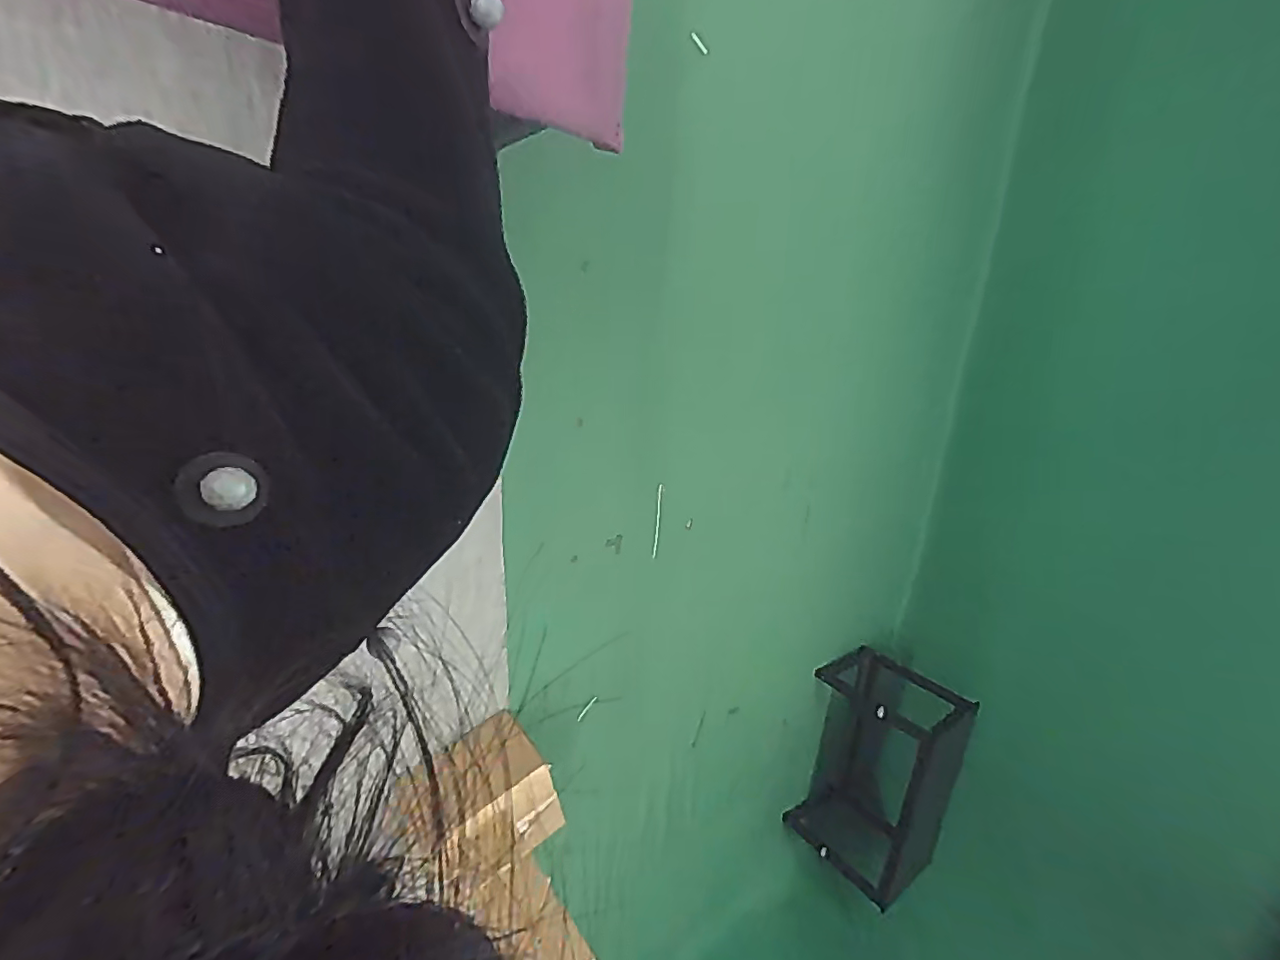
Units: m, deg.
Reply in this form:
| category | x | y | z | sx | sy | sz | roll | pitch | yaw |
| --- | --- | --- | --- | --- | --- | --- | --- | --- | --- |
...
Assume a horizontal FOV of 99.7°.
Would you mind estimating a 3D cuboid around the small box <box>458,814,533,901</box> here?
| category | x | y | z | sx | sy | sz | roll | pitch | yaw |
| --- | --- | --- | --- | --- | --- | --- | --- | --- | --- |
| small box | -0.412 | 1.124 | 1.583 | 0.168 | 0.176 | 0.179 | -24 | 120 | -31 |

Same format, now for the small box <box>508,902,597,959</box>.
| category | x | y | z | sx | sy | sz | roll | pitch | yaw |
| --- | --- | --- | --- | --- | --- | --- | --- | --- | --- |
| small box | -0.211 | 1.217 | 1.341 | 0.179 | 0.176 | 0.168 | -24 | 120 | -30 |

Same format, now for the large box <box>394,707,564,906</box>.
| category | x | y | z | sx | sy | sz | roll | pitch | yaw |
| --- | --- | --- | --- | --- | --- | --- | --- | --- | --- |
| large box | -0.527 | 1.055 | 1.791 | 0.408 | 0.320 | 0.320 | -26 | 122 | -32 |

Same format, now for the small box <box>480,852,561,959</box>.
| category | x | y | z | sx | sy | sz | roll | pitch | yaw |
| --- | --- | --- | --- | --- | --- | --- | --- | --- | --- |
| small box | -0.314 | 1.172 | 1.461 | 0.179 | 0.176 | 0.168 | -26 | 120 | -31 |
